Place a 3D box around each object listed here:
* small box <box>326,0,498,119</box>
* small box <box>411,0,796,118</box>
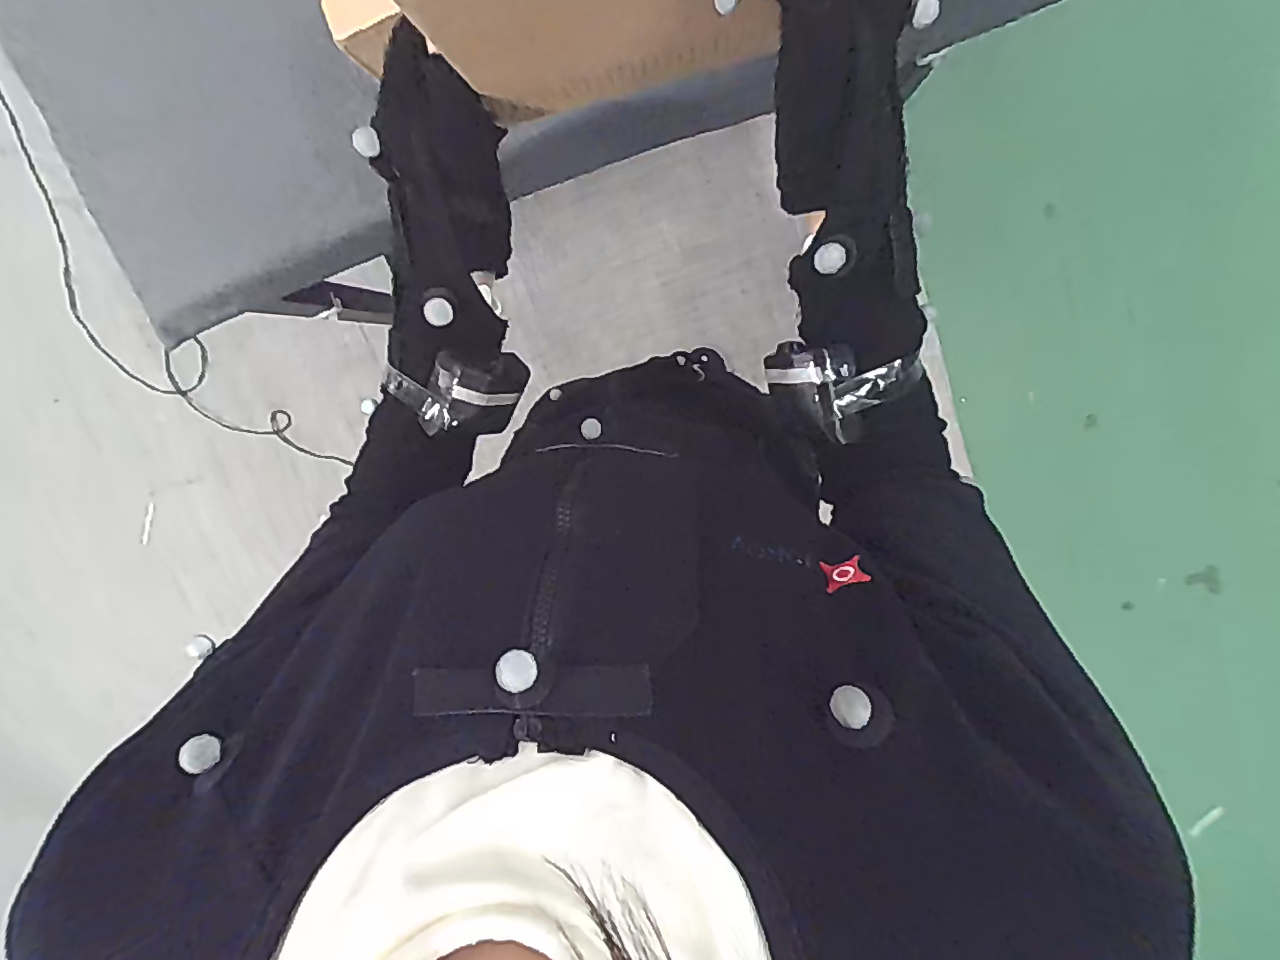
[{"bbox_3d":[-0.189,-0.489,0.517,0.179,0.176,0.168,-16,100,9],"label":"small box"},{"bbox_3d":[-0.018,-0.293,0.229,0.179,0.176,0.168,-9,101,10],"label":"small box"}]
